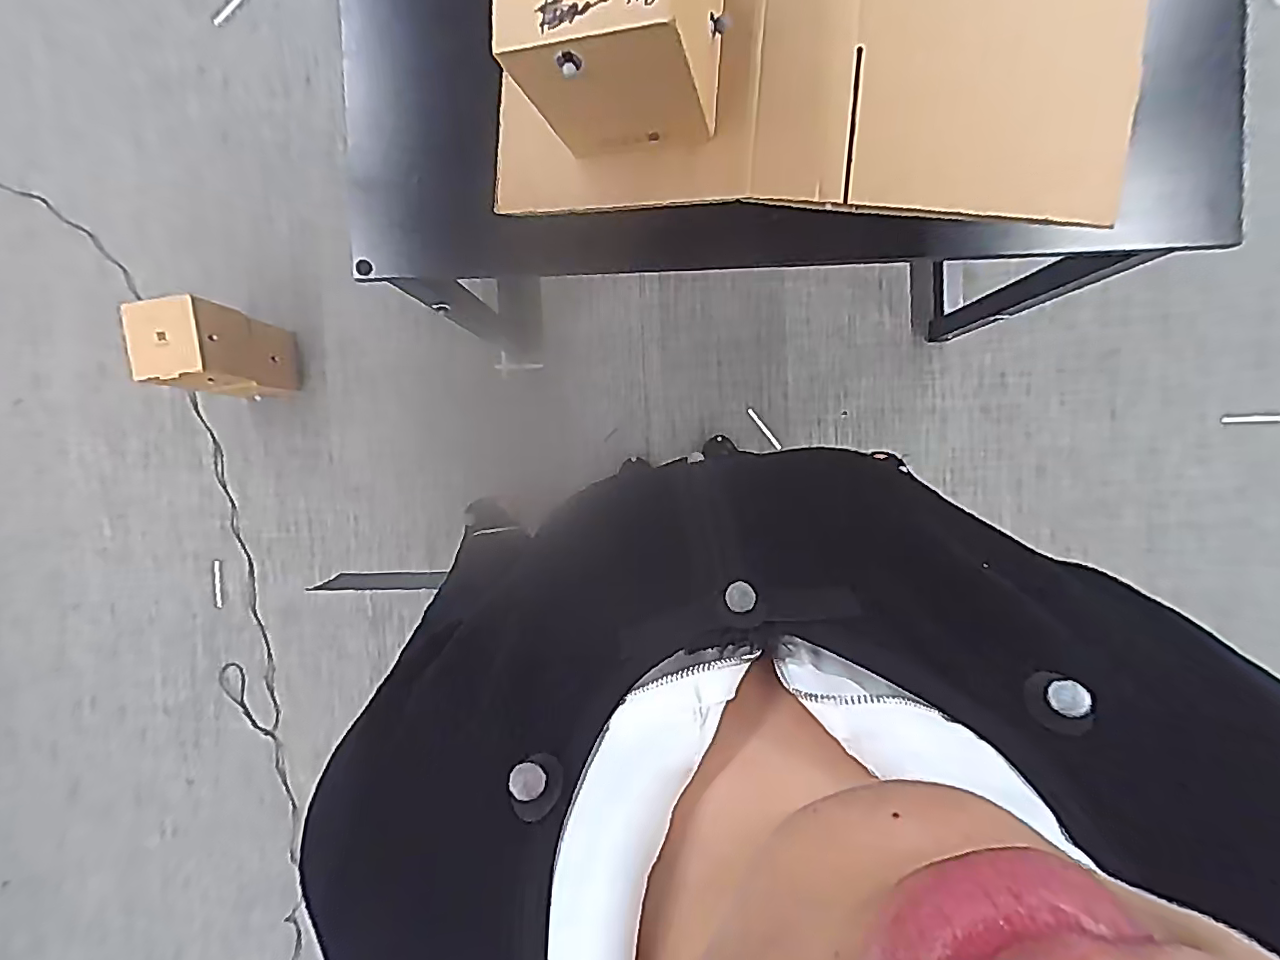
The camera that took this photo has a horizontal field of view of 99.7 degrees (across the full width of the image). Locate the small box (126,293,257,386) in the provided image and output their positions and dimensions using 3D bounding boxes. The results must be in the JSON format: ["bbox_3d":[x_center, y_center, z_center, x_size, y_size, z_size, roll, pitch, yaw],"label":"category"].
[{"bbox_3d":[-1.056,-0.324,1.289,0.168,0.176,0.179,-8,91,2],"label":"small box"}]

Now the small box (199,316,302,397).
[{"bbox_3d":[-1.046,-0.326,1.451,0.168,0.176,0.179,-5,93,3],"label":"small box"}]

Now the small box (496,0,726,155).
[{"bbox_3d":[-0.015,-0.449,0.515,0.168,0.176,0.179,5,93,18],"label":"small box"}]
